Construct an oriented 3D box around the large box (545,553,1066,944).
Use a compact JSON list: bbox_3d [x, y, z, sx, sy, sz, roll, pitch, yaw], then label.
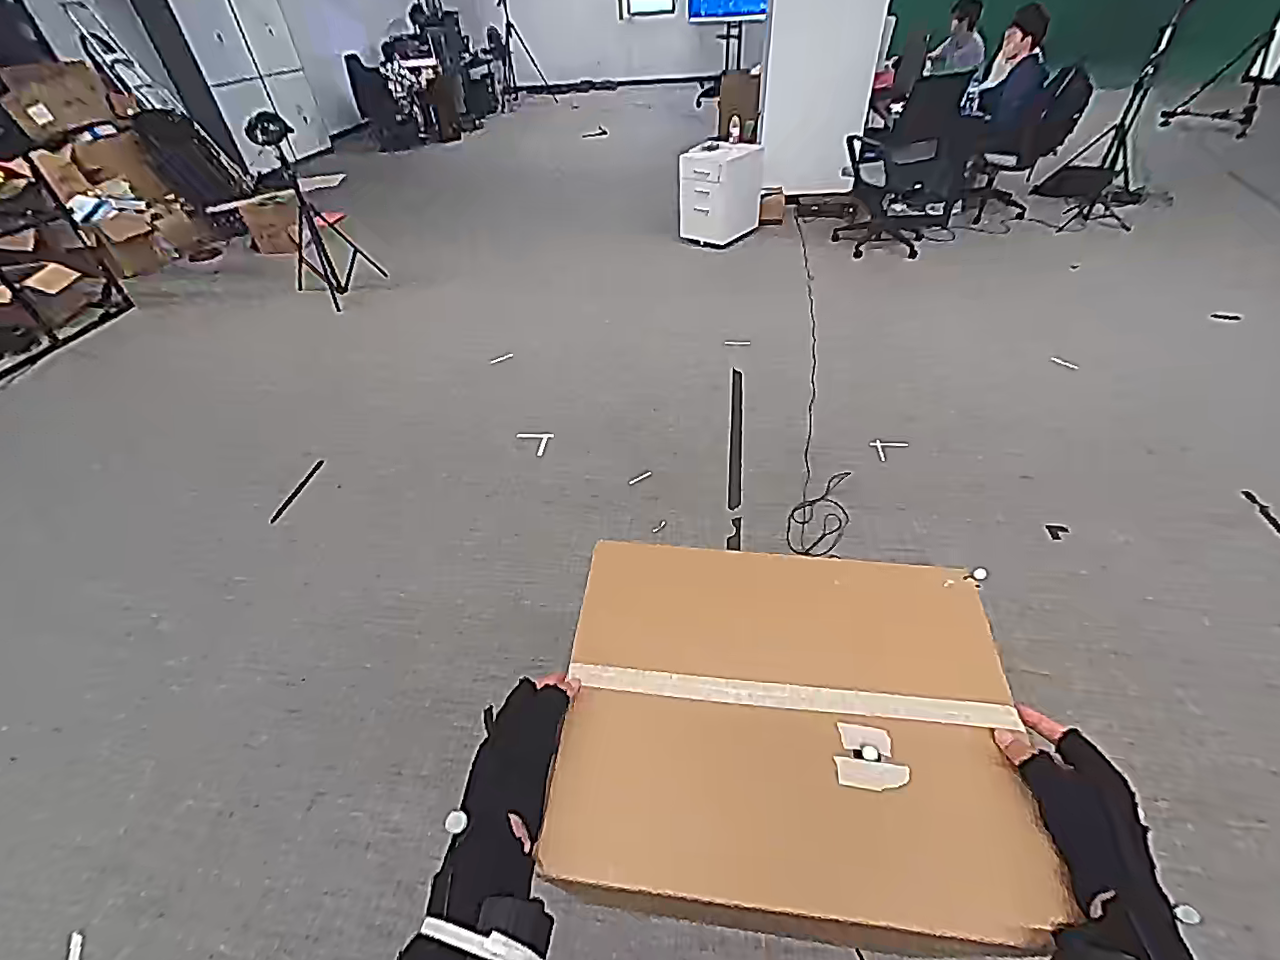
[{"bbox_3d":[0.138,0.307,0.623,0.408,0.320,0.320,4,50,6],"label":"large box"}]
